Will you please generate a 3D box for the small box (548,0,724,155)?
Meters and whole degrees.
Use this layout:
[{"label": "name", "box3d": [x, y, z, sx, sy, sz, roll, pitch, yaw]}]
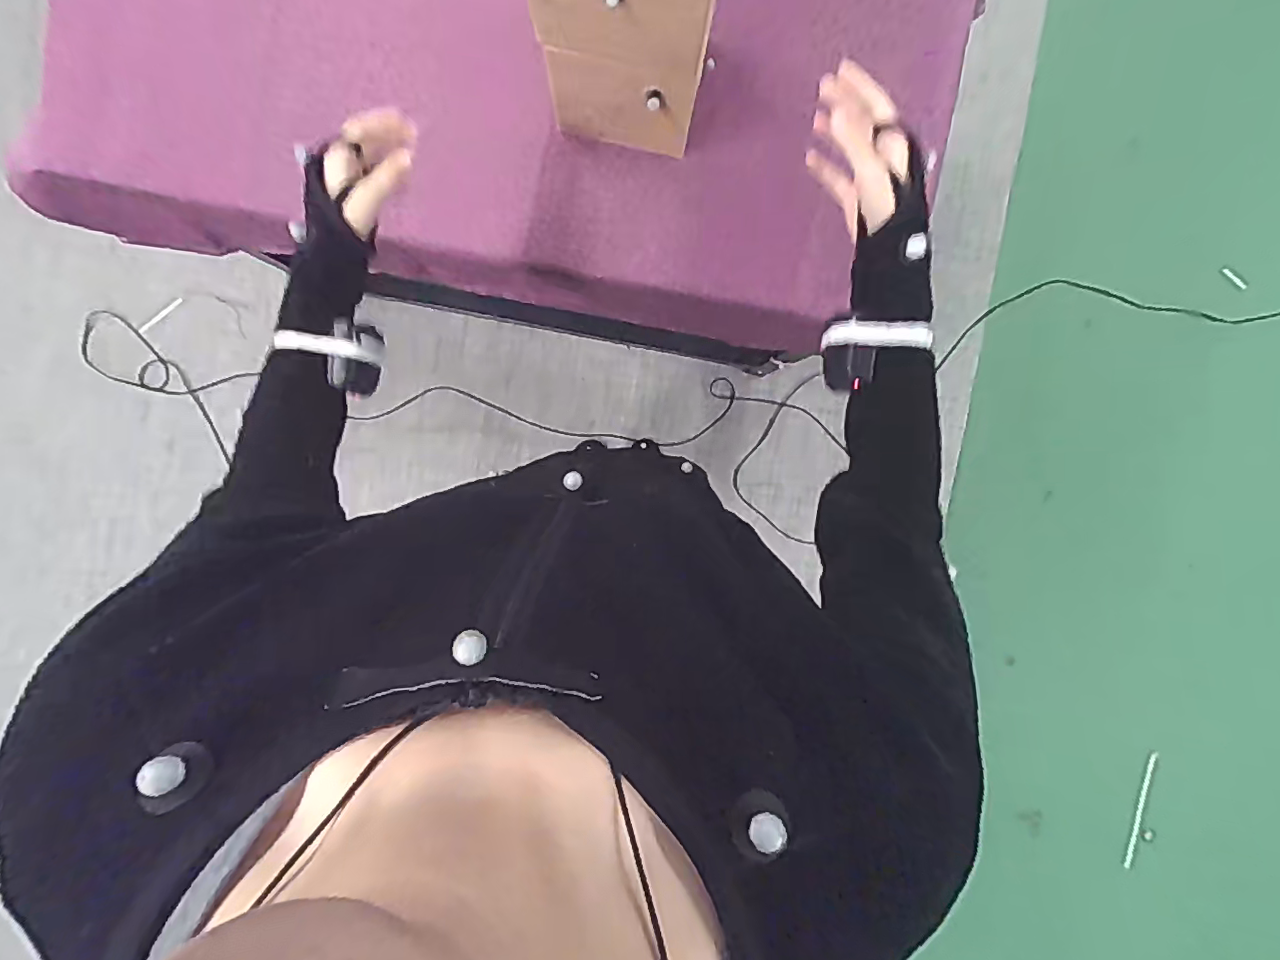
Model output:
[{"label": "small box", "box3d": [-0.001, -0.530, 0.657, 0.179, 0.176, 0.168, 11, 94, -3]}]
